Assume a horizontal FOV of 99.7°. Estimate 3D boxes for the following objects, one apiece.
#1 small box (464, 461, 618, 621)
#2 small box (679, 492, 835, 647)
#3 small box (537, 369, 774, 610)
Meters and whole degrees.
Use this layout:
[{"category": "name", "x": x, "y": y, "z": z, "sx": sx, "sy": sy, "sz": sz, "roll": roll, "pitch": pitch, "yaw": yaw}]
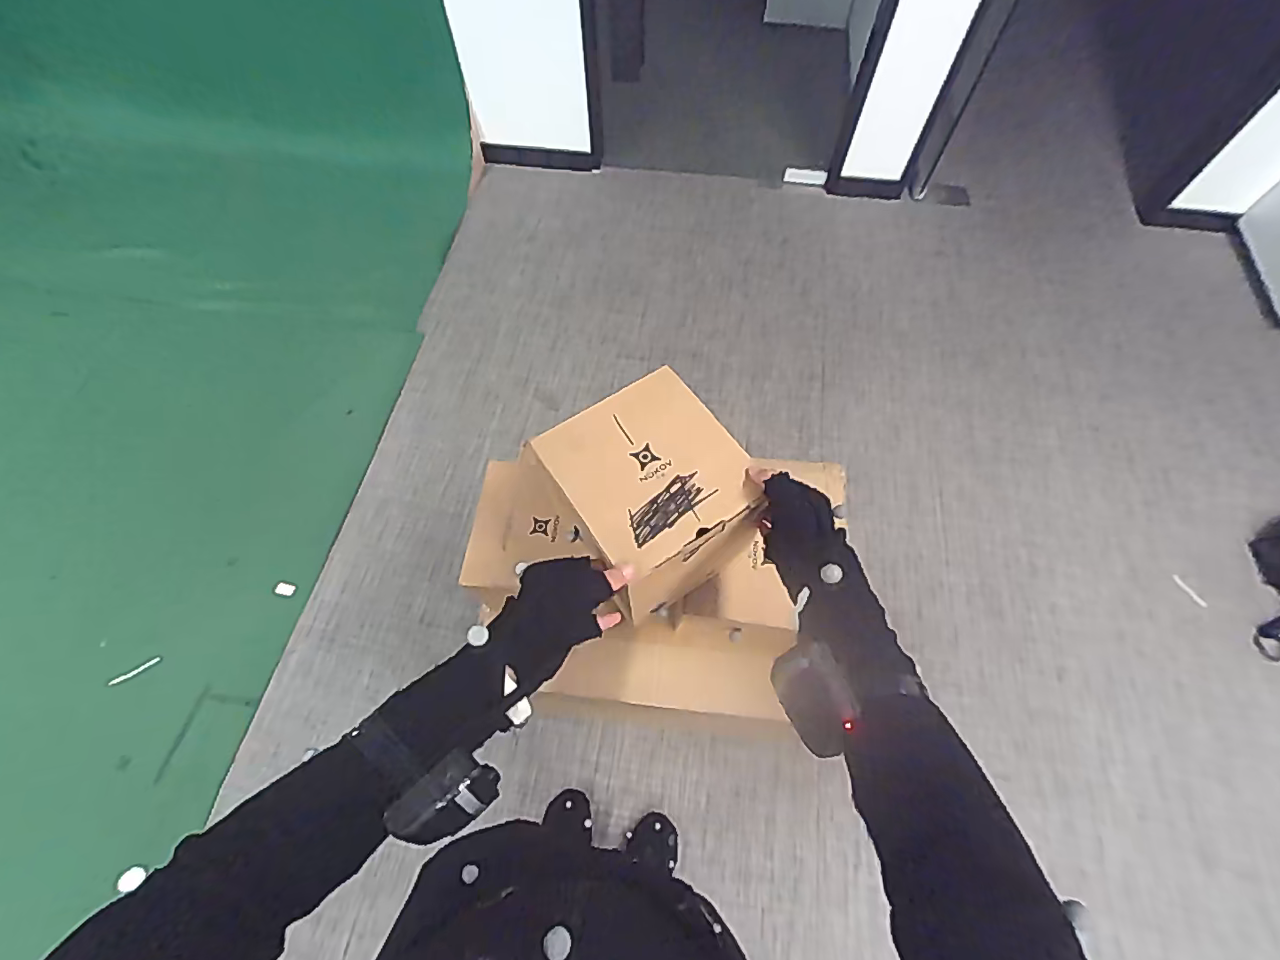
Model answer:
[{"category": "small box", "x": -0.112, "y": 0.091, "z": 0.737, "sx": 0.179, "sy": 0.176, "sz": 0.168, "roll": 5, "pitch": 64, "yaw": 4}, {"category": "small box", "x": 0.148, "y": 0.121, "z": 0.722, "sx": 0.179, "sy": 0.176, "sz": 0.168, "roll": 7, "pitch": 67, "yaw": 4}, {"category": "small box", "x": 0.014, "y": 0.022, "z": 0.585, "sx": 0.168, "sy": 0.176, "sz": 0.179, "roll": -31, "pitch": 66, "yaw": -14}]
